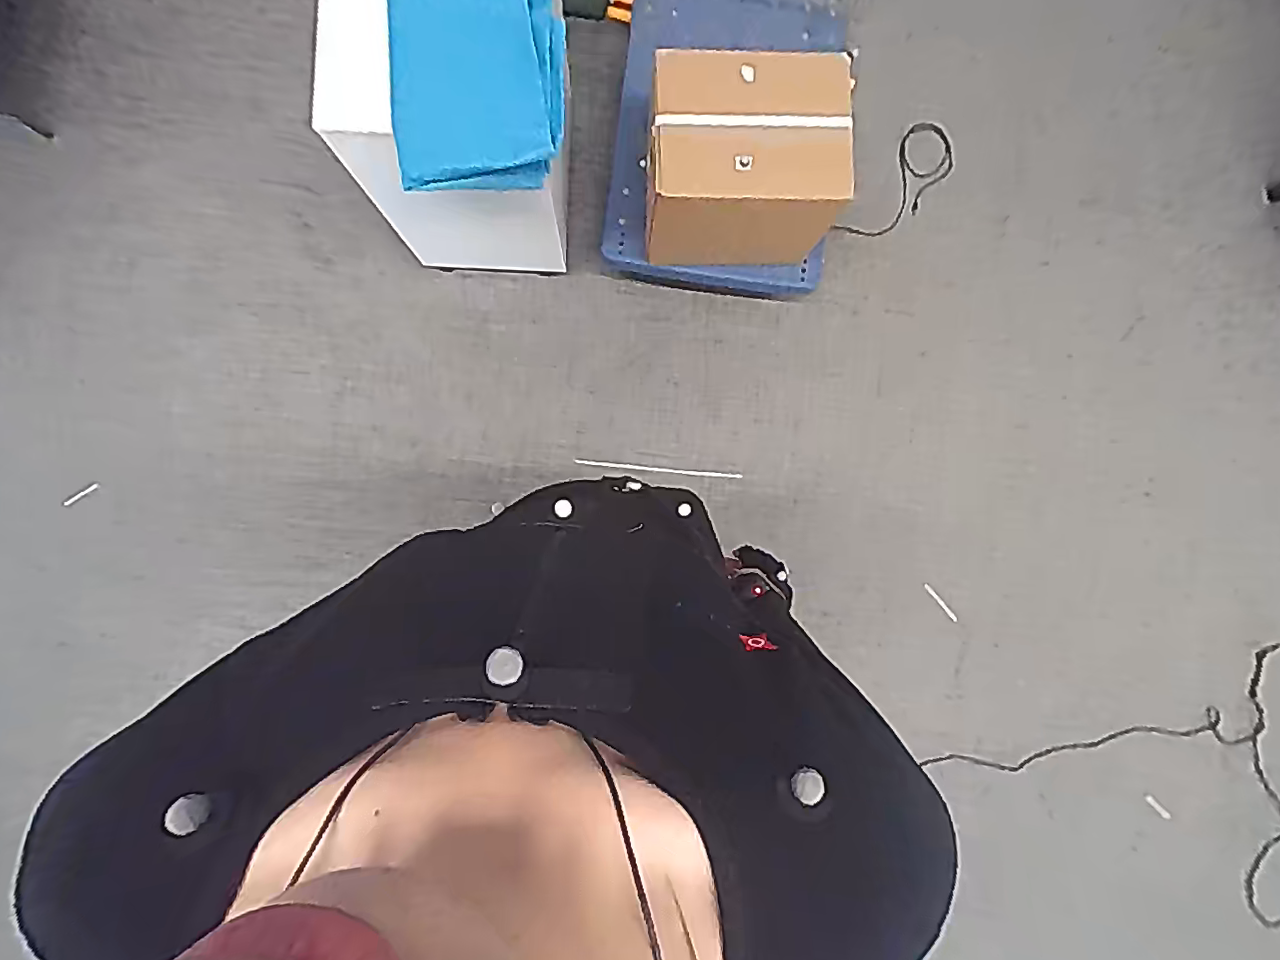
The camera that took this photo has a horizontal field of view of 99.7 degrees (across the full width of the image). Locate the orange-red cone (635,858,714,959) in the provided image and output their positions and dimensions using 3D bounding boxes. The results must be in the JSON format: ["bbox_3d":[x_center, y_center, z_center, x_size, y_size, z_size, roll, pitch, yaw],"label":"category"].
[{"bbox_3d":[0.103,1.146,1.314,0.198,0.360,0.199,10,88,-2],"label":"orange-red cone"}]
